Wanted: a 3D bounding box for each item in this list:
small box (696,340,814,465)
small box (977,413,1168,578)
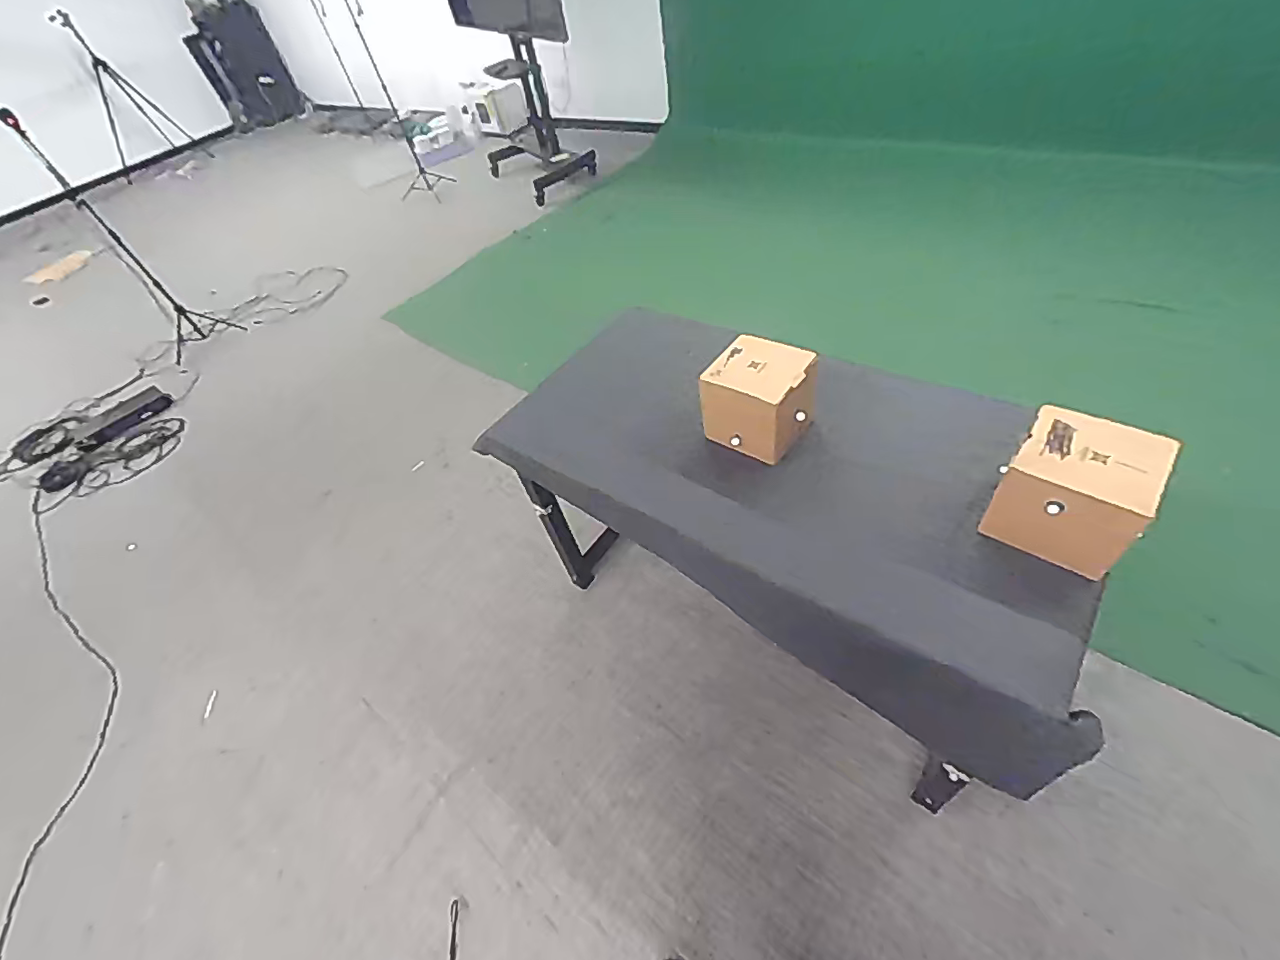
[{"bbox_3d":[0.235,-0.156,1.116,0.179,0.176,0.168,26,57,29],"label":"small box"},{"bbox_3d":[0.676,0.026,0.866,0.179,0.176,0.168,28,58,30],"label":"small box"}]
